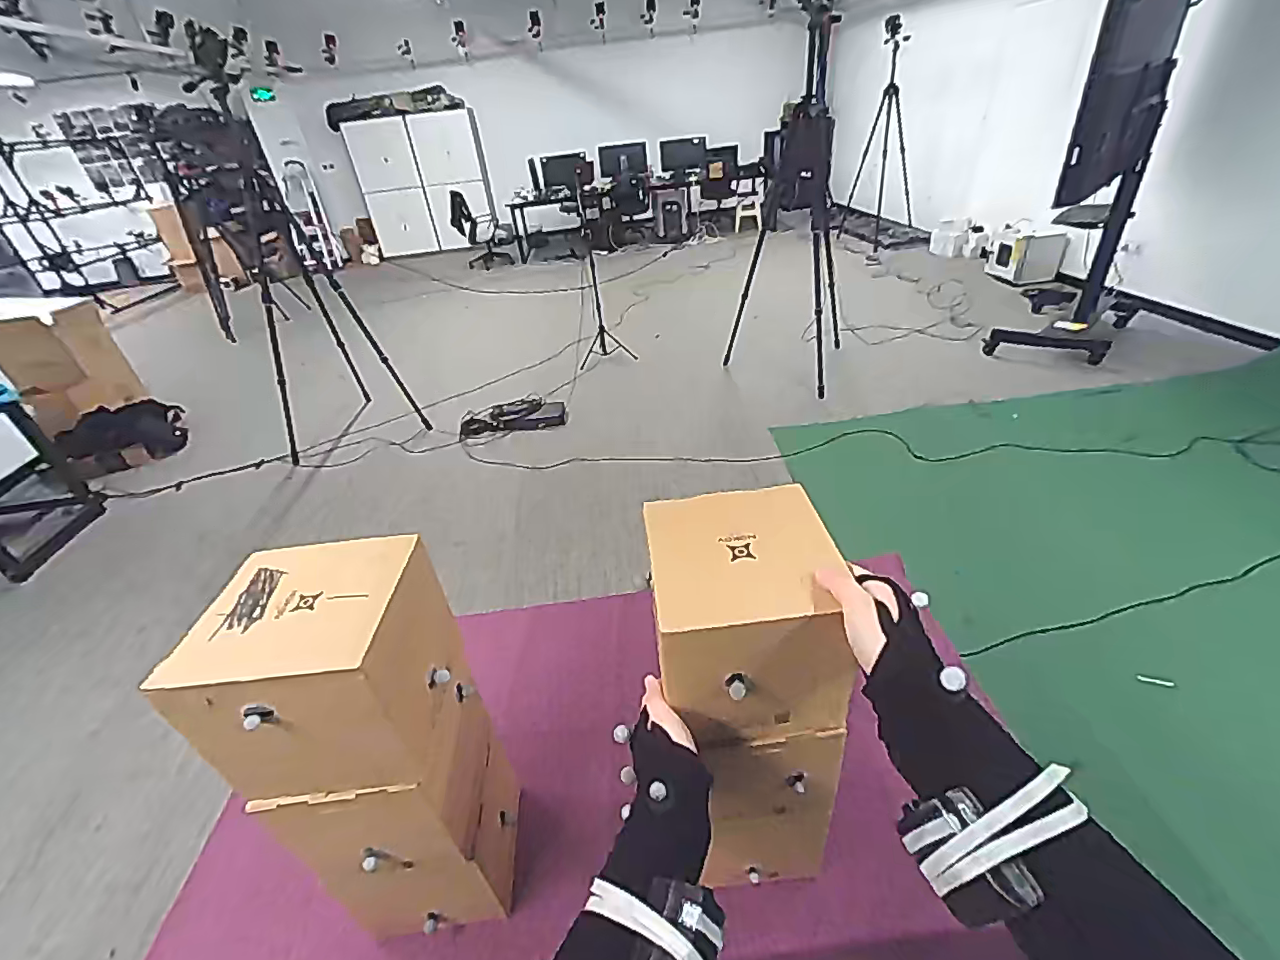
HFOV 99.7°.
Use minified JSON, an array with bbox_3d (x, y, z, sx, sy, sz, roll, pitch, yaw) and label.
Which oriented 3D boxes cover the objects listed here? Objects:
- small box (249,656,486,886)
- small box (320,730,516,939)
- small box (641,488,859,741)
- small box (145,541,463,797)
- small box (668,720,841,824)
[{"bbox_3d":[-0.284,0.319,0.616,0.168,0.176,0.179,-8,34,-1],"label":"small box"},{"bbox_3d":[-0.267,0.458,0.704,0.179,0.176,0.168,-8,33,-3],"label":"small box"},{"bbox_3d":[0.096,0.133,0.532,0.168,0.176,0.179,-7,33,-1],"label":"small box"},{"bbox_3d":[-0.295,0.182,0.526,0.179,0.176,0.168,-6,34,0],"label":"small box"},{"bbox_3d":[0.115,0.268,0.622,0.168,0.176,0.179,-7,34,-1],"label":"small box"}]
